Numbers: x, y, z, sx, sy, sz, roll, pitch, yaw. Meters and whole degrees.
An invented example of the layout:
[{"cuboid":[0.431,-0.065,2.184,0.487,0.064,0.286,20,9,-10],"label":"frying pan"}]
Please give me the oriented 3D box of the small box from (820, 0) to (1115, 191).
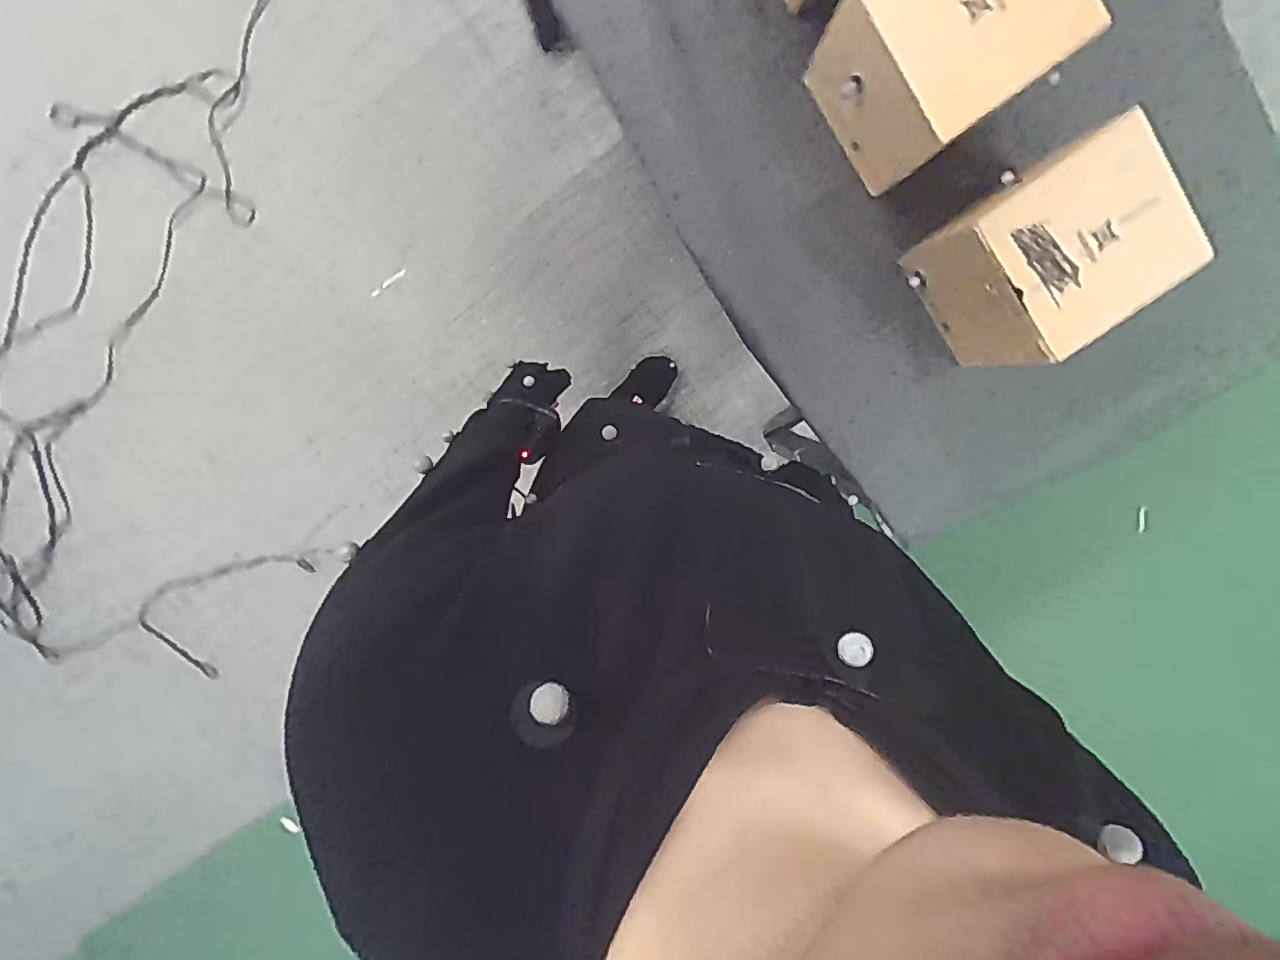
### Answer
[{"cuboid":[0.309,-0.440,0.558,0.179,0.176,0.168,-35,99,7],"label":"small box"}]
